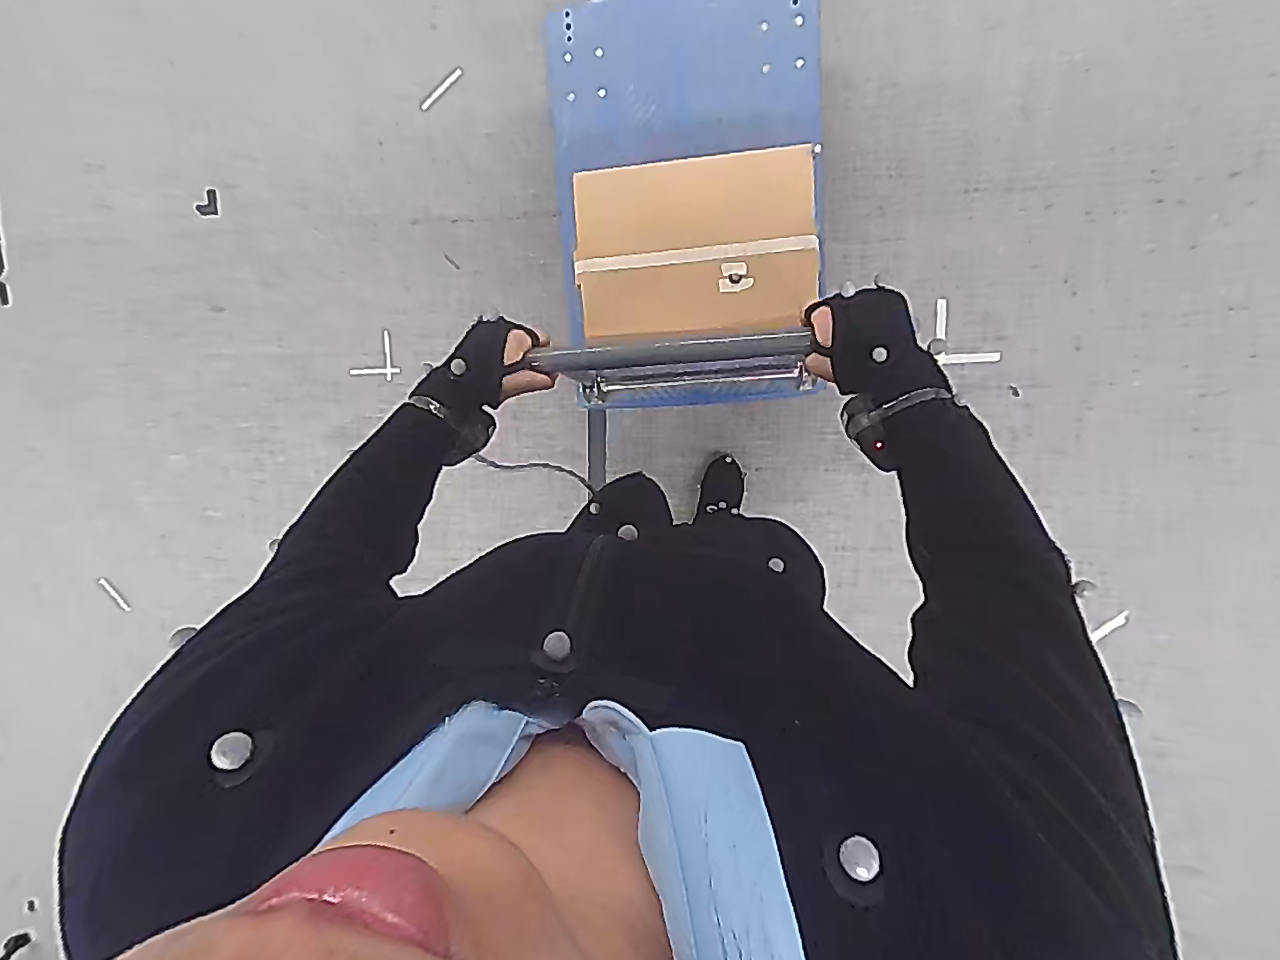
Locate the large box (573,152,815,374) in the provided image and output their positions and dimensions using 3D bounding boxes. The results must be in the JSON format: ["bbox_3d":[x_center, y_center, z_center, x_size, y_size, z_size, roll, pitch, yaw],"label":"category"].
[{"bbox_3d":[0.105,-0.392,1.071,0.408,0.320,0.320,-3,97,6],"label":"large box"}]
